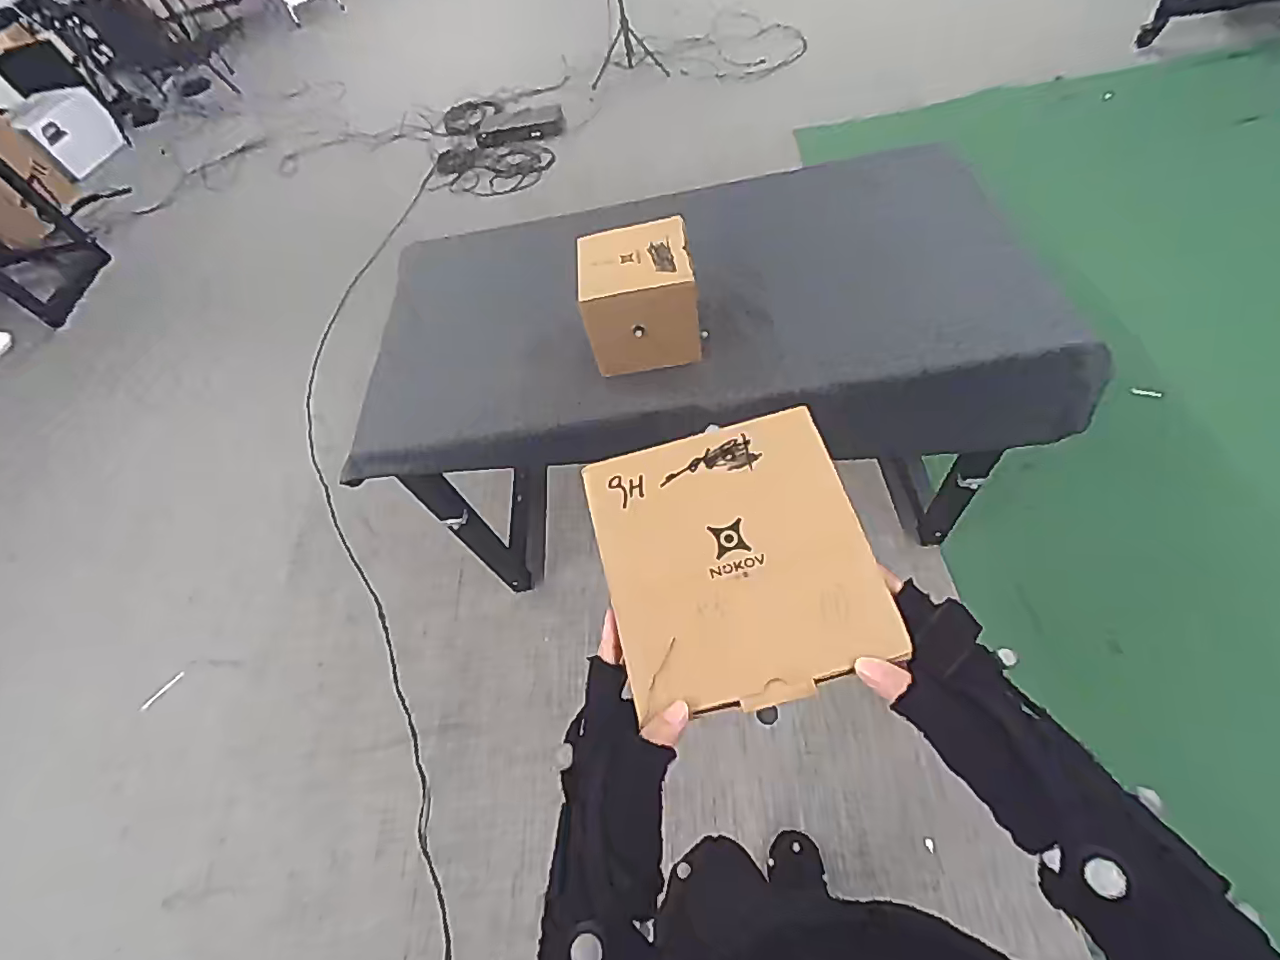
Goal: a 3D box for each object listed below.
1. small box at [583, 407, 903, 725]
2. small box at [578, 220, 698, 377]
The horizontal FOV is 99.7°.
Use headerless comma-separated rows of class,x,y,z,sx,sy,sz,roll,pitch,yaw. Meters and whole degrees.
small box,0.066,0.074,0.421,0.168,0.176,0.179,-15,67,0
small box,0.001,-0.296,0.902,0.179,0.176,0.168,-9,57,6
